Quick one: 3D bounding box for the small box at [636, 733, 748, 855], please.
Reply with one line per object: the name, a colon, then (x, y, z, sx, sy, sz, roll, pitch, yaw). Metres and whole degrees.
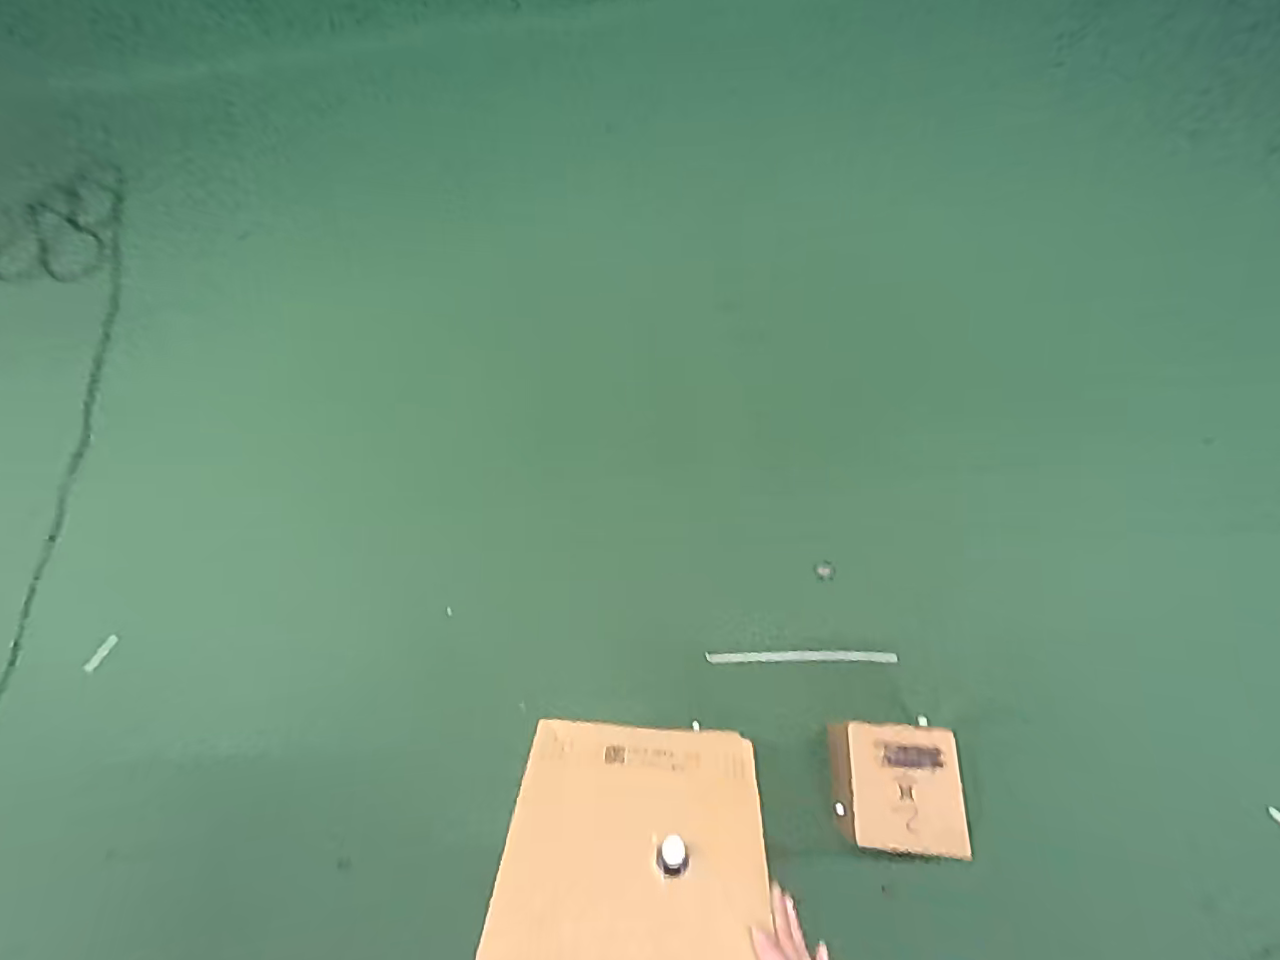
small box: (0.092, 0.540, 0.950, 0.179, 0.176, 0.168, -2, 65, 8)
